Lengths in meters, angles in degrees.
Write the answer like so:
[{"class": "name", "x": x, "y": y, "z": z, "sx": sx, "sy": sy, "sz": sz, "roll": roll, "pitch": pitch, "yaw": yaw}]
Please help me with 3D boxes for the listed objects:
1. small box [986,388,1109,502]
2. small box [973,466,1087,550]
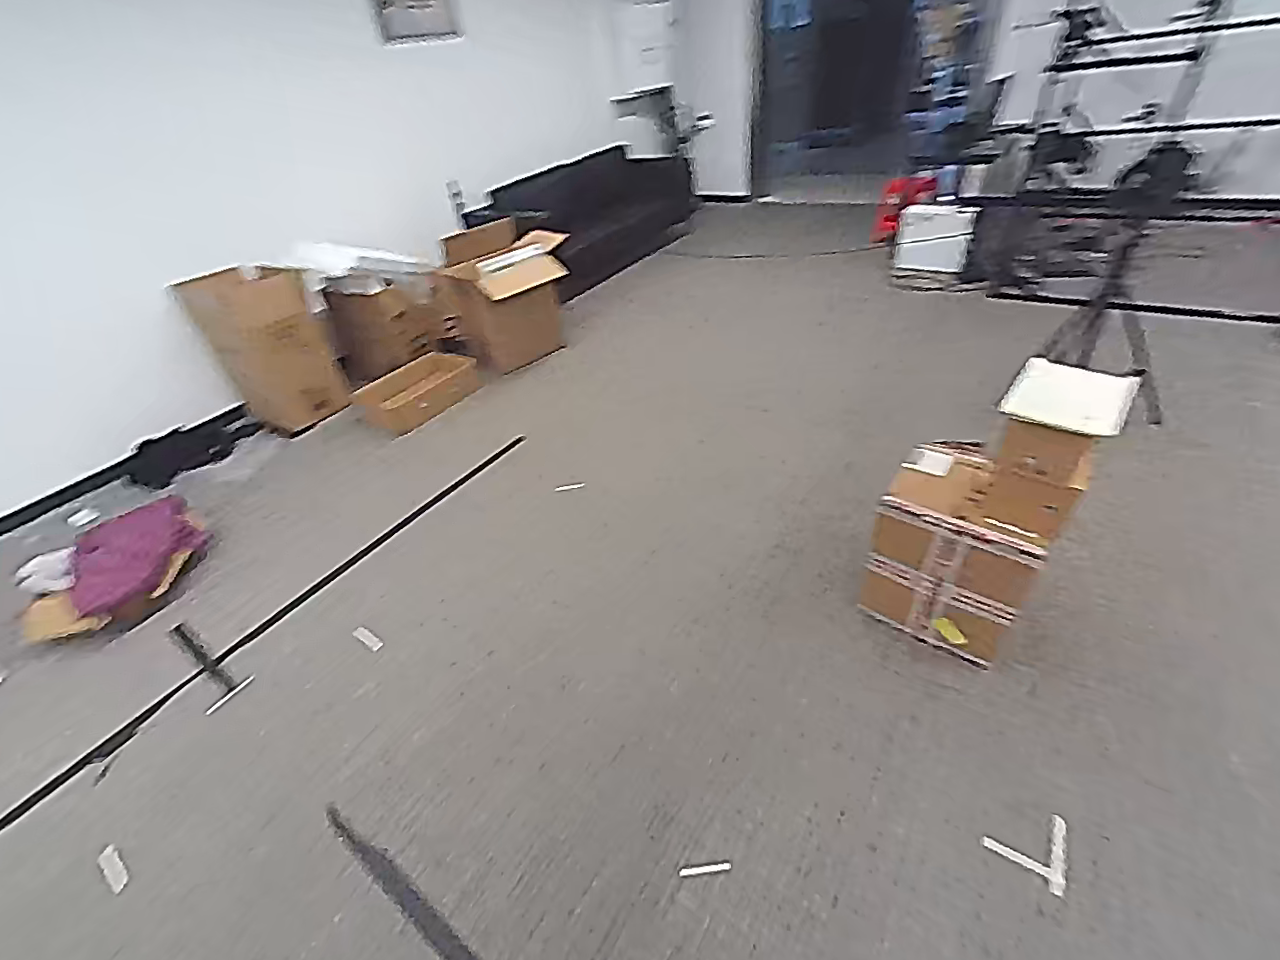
[{"class": "small box", "x": 0.937, "y": -0.082, "z": 1.254, "sx": 0.168, "sy": 0.176, "sz": 0.179, "roll": 27, "pitch": 51, "yaw": 33}, {"class": "small box", "x": 0.969, "y": 0.048, "z": 1.351, "sx": 0.179, "sy": 0.176, "sz": 0.168, "roll": 22, "pitch": 48, "yaw": 31}]
